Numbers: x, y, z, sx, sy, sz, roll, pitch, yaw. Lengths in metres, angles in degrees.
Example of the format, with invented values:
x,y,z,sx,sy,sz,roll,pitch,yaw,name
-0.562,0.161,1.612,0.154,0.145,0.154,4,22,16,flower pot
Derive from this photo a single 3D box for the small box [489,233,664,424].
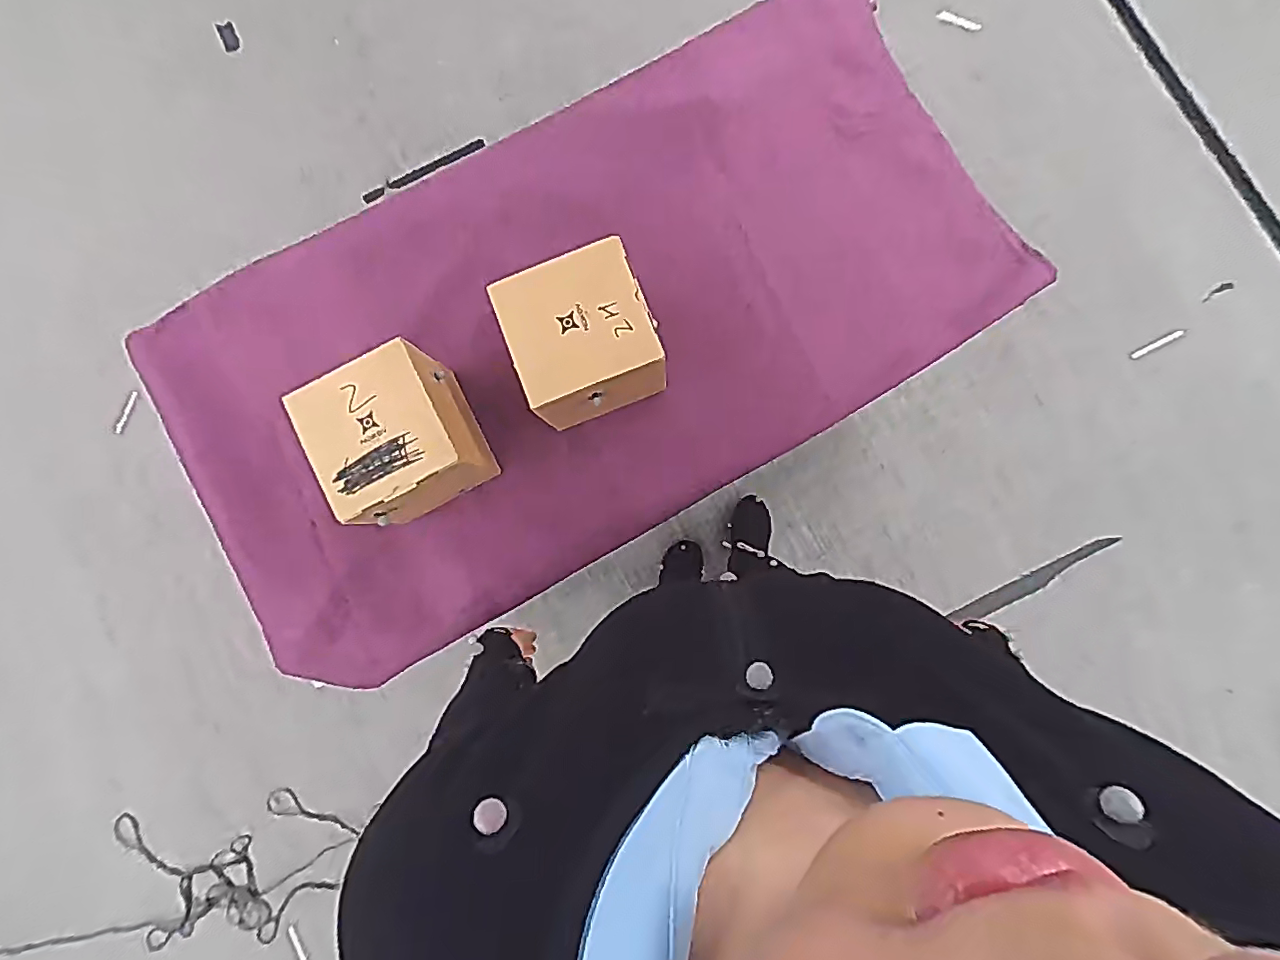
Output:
x,y,z,sx,sy,sz,roll,pitch,yaw,name
-0.073,-0.188,0.725,0.179,0.176,0.168,-21,86,1,small box
